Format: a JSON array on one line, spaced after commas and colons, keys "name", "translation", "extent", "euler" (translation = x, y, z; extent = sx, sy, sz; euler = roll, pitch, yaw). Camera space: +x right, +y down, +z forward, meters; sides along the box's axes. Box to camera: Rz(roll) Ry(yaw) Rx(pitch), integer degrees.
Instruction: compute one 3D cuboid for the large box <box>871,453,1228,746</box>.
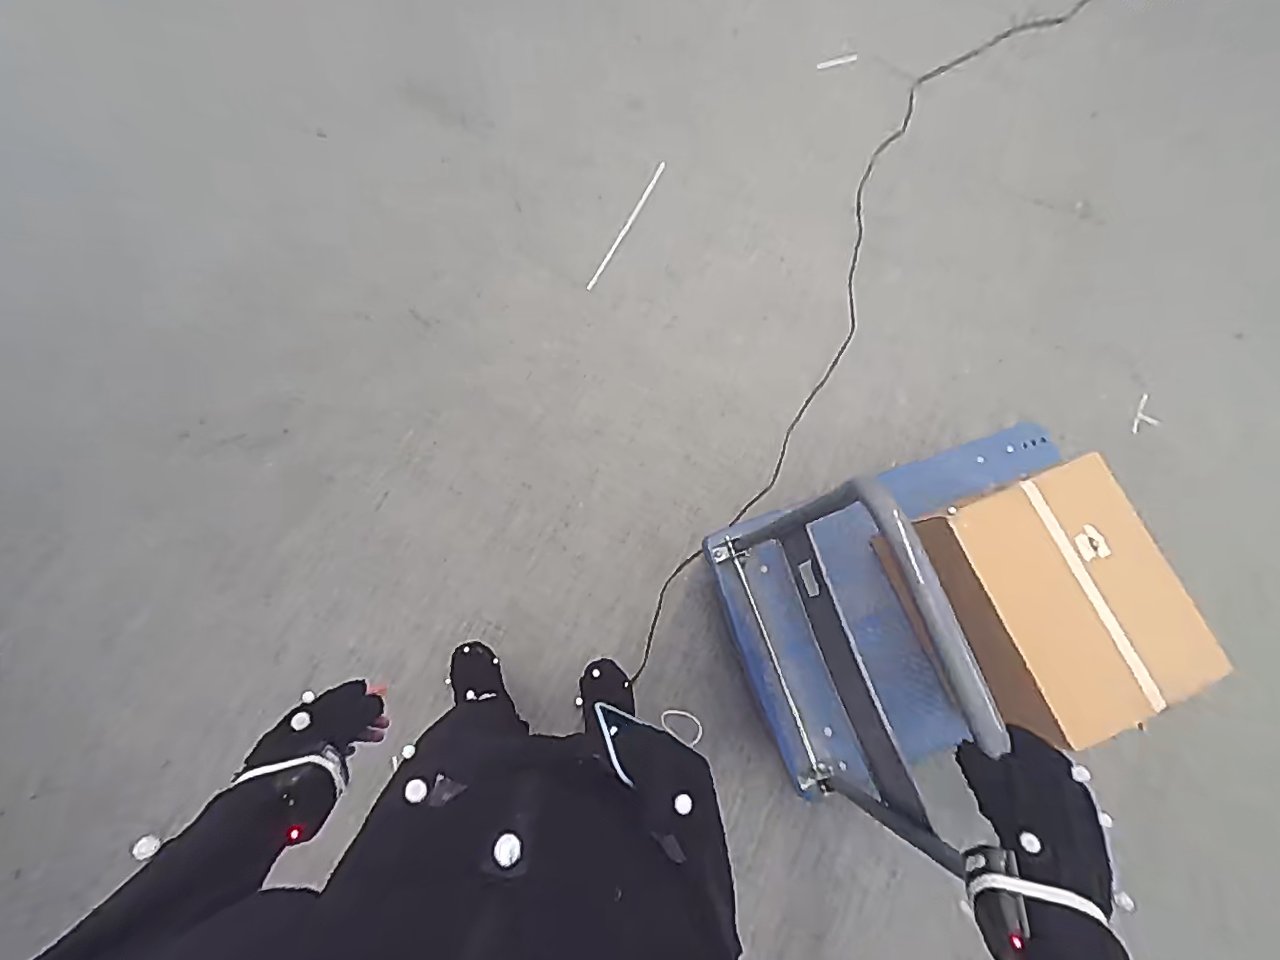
[{"name": "large box", "translation": [0.727, 0.218, 1.037], "extent": [0.320, 0.320, 0.408], "euler": [-21, 77, -7]}]
